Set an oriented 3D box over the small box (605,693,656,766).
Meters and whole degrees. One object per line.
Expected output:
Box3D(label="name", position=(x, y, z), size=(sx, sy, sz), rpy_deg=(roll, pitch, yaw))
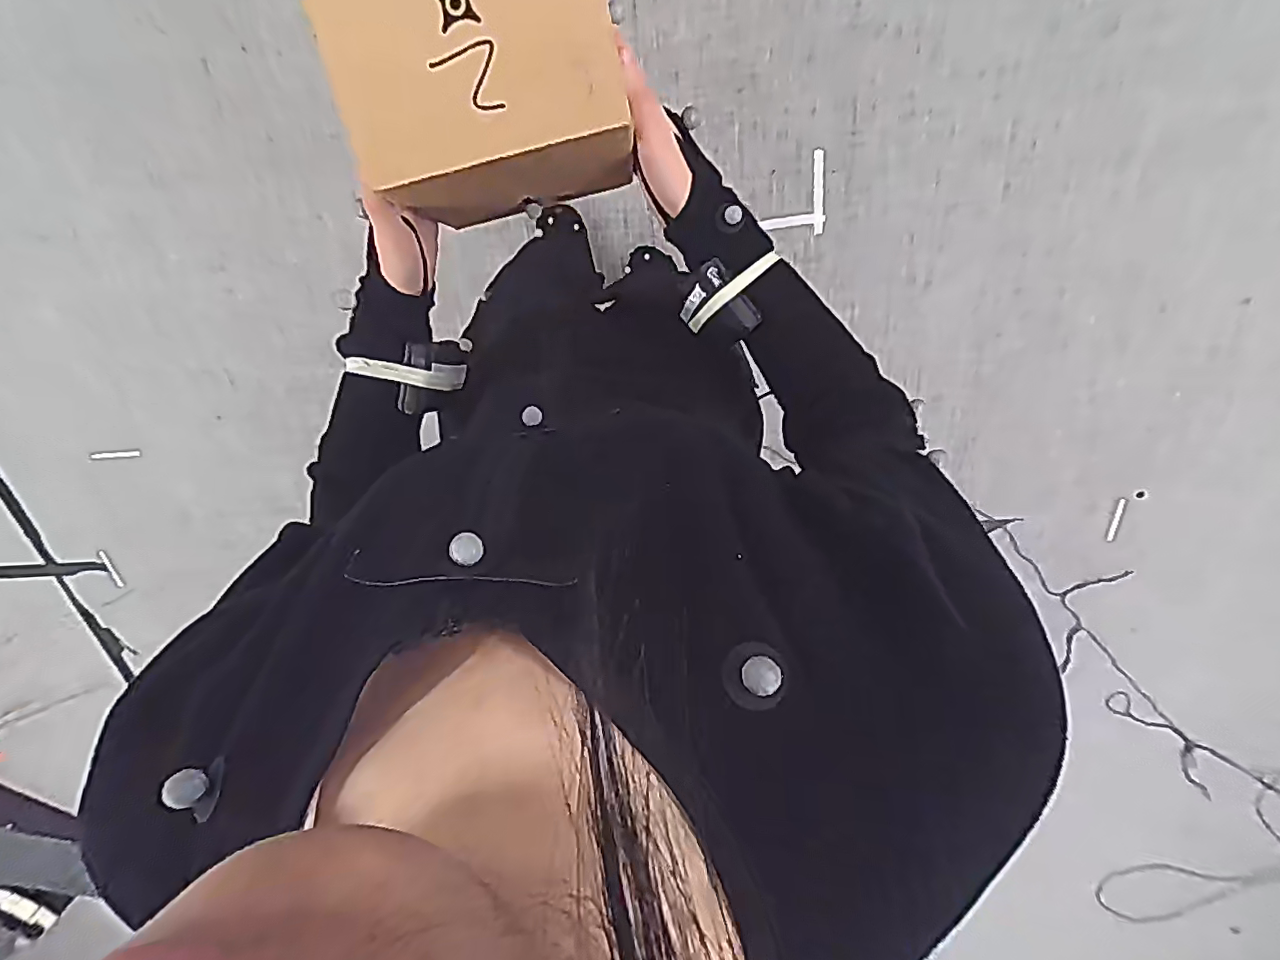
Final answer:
Box3D(label="small box", position=(-0.030, 0.864, 1.883), size=(0.168, 0.176, 0.179), rpy_deg=(-2, 116, 4))
